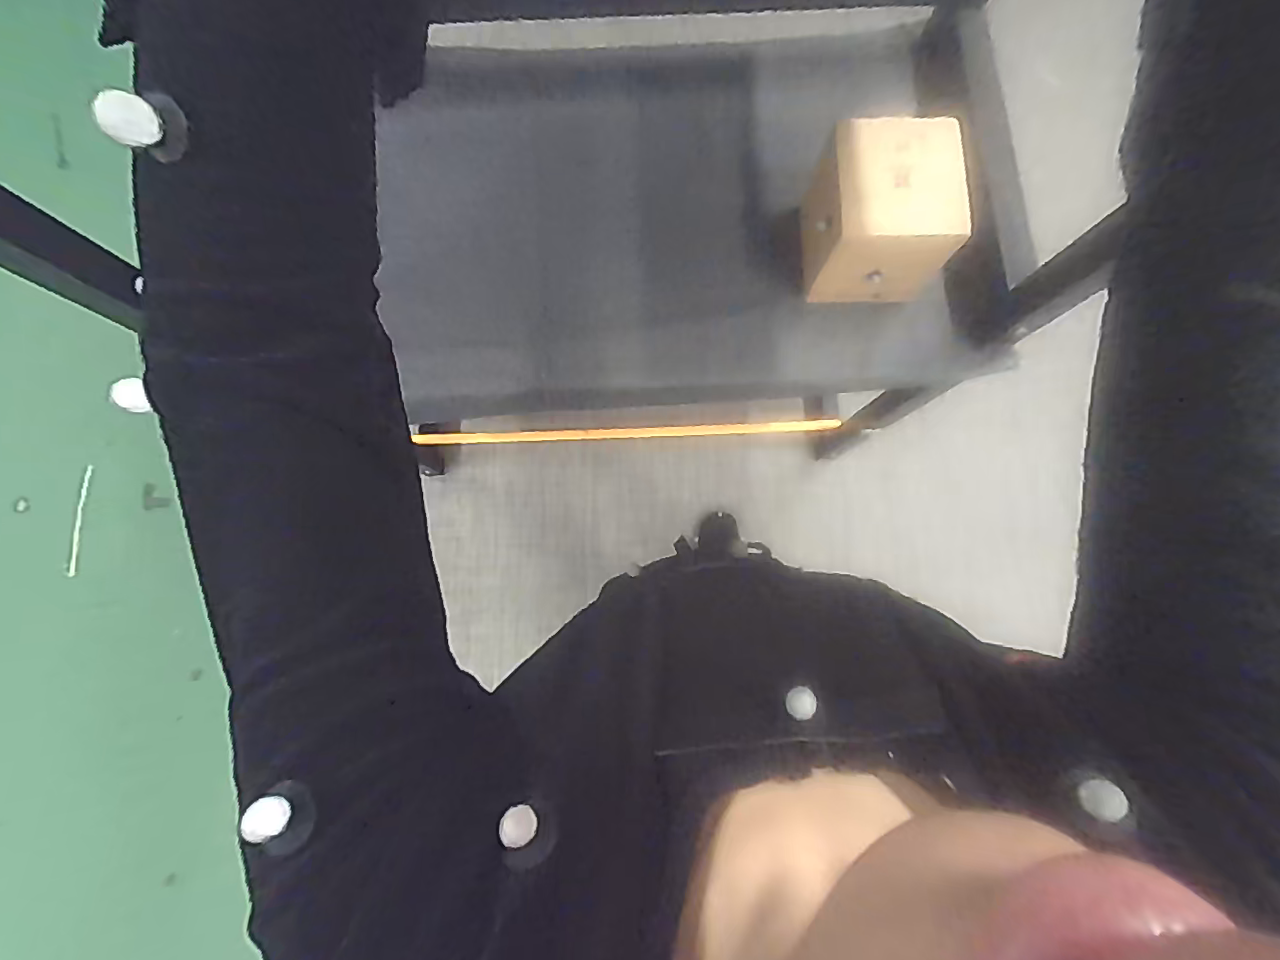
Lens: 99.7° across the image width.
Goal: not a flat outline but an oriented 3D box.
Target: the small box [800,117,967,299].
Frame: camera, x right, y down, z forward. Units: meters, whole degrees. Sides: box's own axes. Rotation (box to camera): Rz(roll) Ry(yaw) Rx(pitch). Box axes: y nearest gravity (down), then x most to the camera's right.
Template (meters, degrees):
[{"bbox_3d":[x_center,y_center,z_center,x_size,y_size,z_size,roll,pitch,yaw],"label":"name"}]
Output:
[{"bbox_3d":[0.335,-0.378,0.777,0.168,0.176,0.179,1,79,0],"label":"small box"}]
